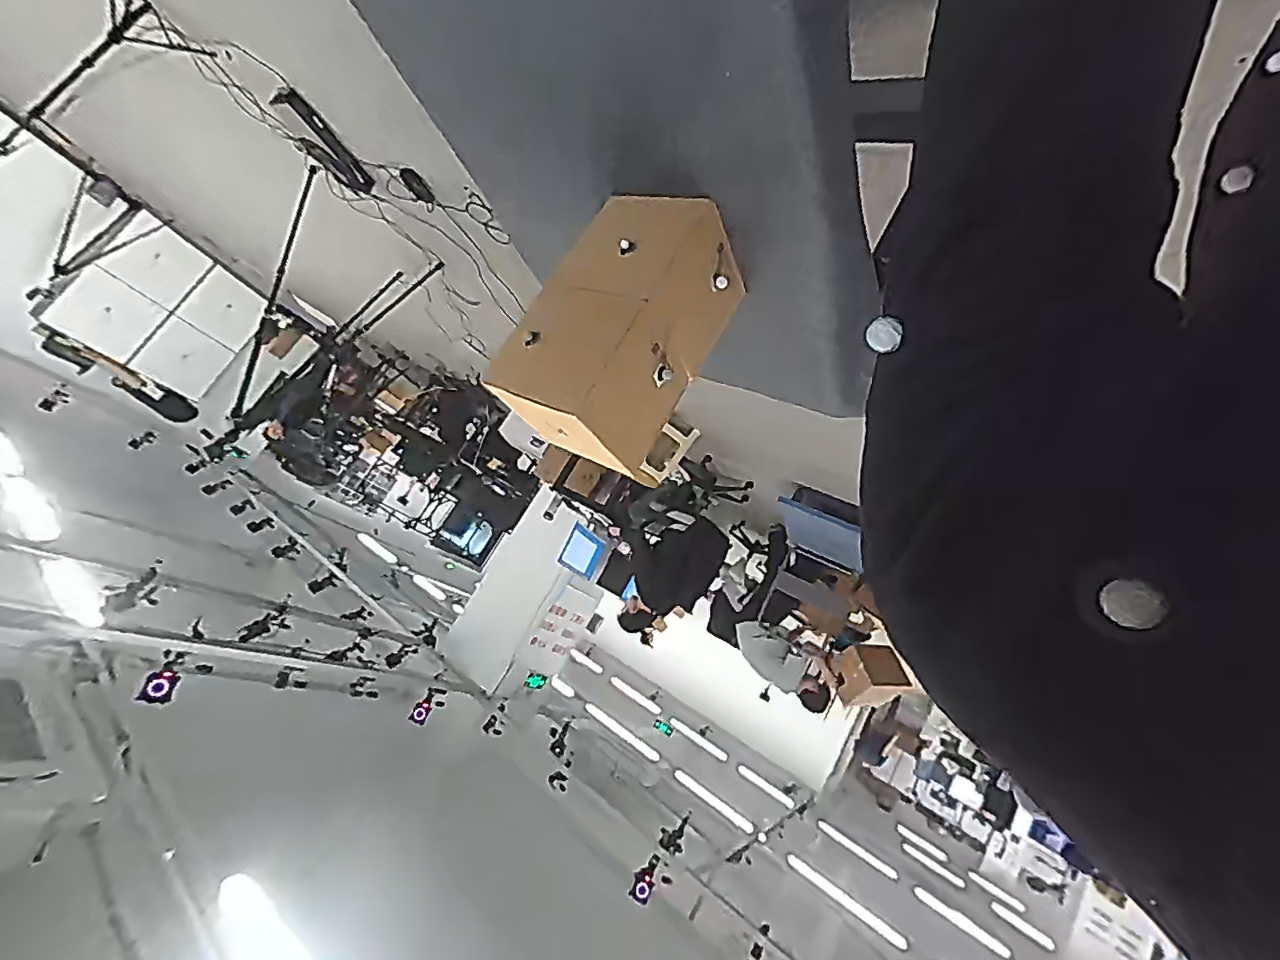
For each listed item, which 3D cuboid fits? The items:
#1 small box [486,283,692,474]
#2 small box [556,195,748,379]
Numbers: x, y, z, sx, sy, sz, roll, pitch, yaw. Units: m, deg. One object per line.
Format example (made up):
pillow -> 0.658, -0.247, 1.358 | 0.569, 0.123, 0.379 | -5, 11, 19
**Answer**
small box -> -0.060, -0.138, 0.720 | 0.179, 0.176, 0.168 | 22, 166, 34
small box -> 0.024, -0.272, 0.758 | 0.179, 0.176, 0.168 | 22, 165, 34
